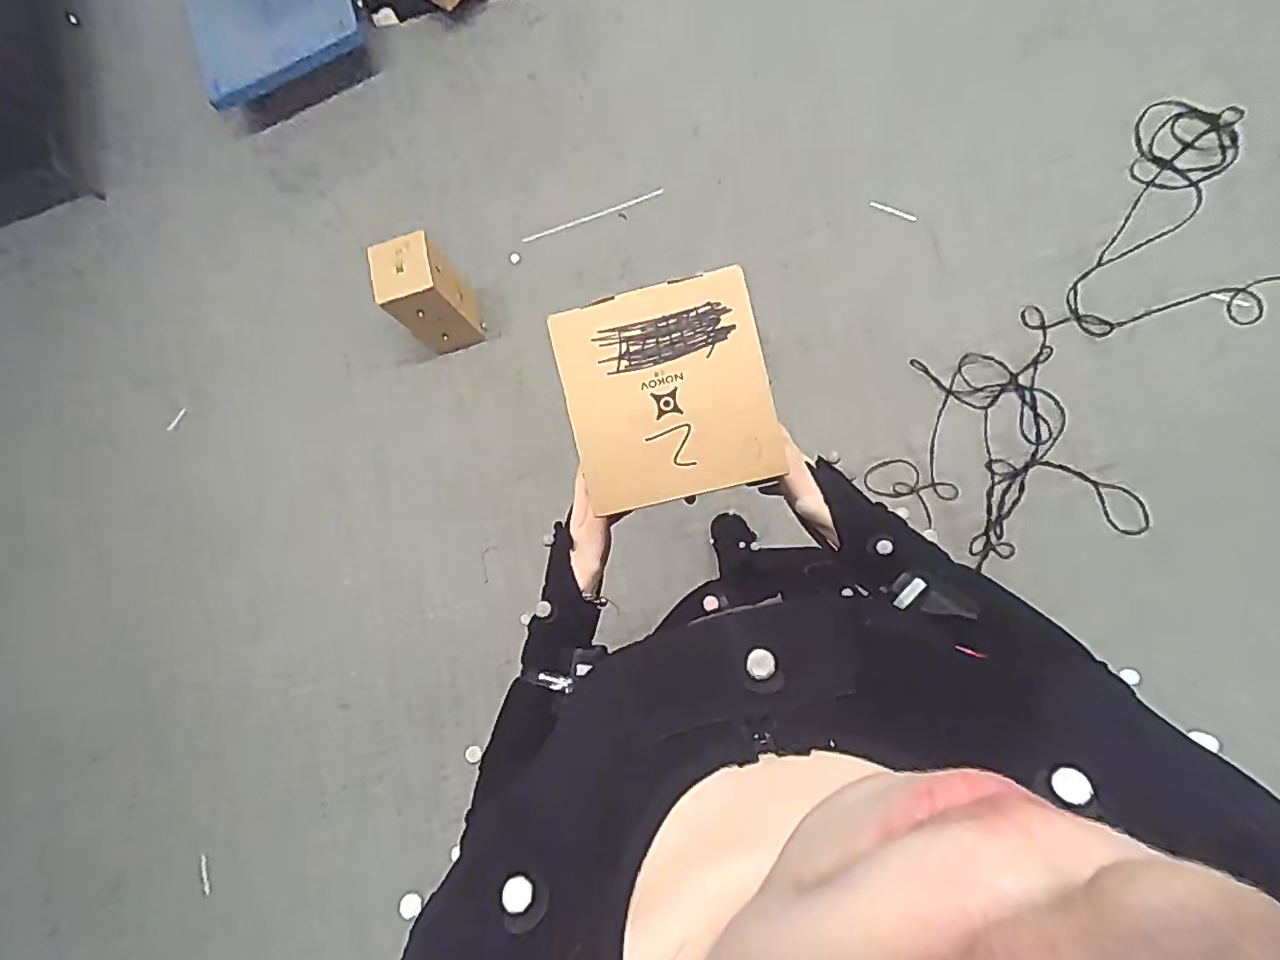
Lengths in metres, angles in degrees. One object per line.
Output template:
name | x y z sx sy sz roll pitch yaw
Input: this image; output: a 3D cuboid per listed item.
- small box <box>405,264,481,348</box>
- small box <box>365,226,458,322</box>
small box | -0.603 -0.525 1.650 0.179 0.176 0.168 -15 79 6
small box | -0.620 -0.554 1.488 0.168 0.176 0.179 -14 79 5
